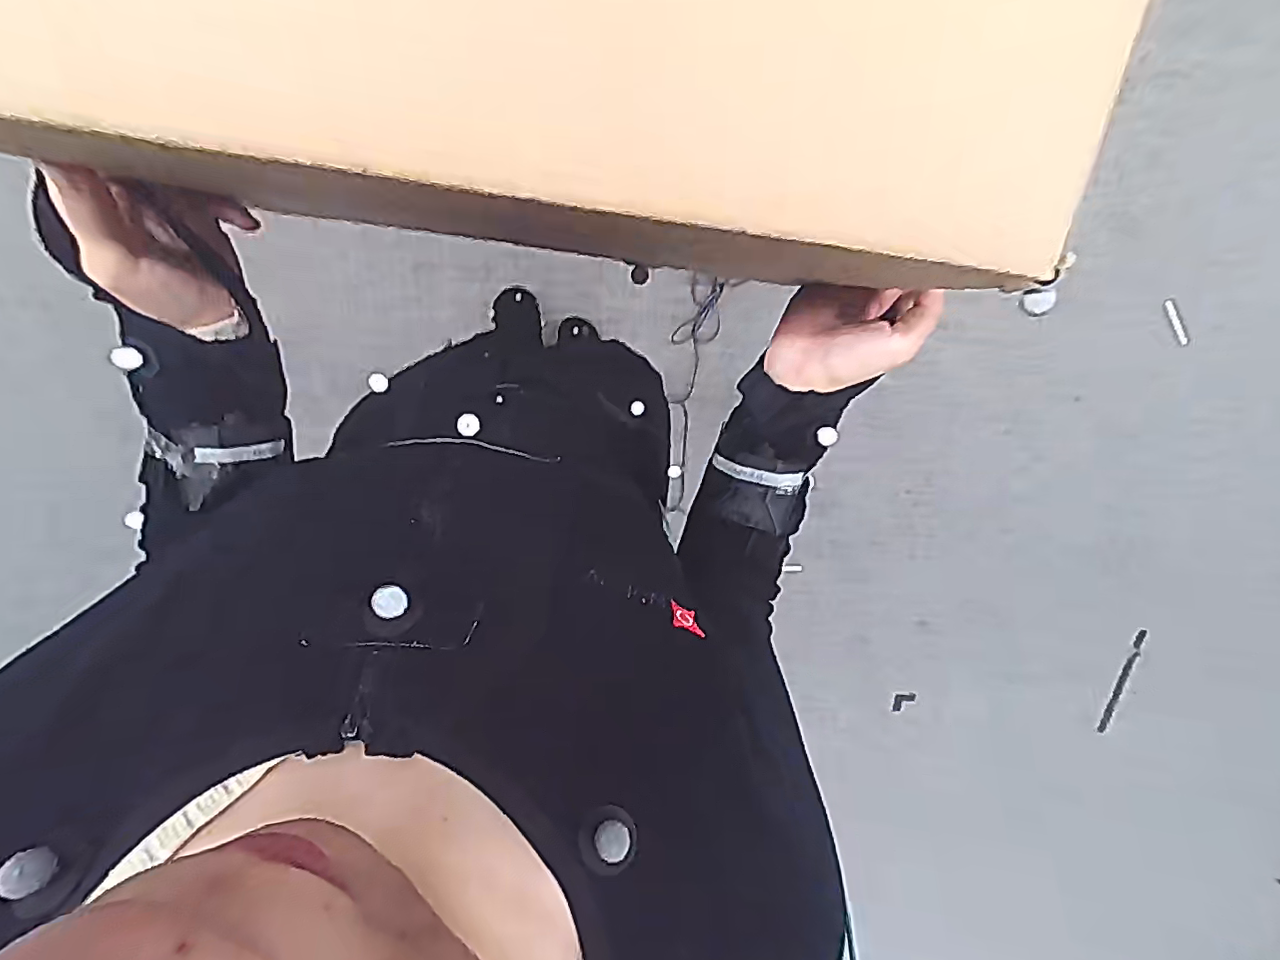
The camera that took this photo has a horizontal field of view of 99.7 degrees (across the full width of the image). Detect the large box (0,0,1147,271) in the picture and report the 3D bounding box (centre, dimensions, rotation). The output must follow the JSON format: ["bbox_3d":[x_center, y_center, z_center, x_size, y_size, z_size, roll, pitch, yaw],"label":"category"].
[{"bbox_3d":[-0.041,-0.293,0.257,0.408,0.320,0.320,4,110,-9],"label":"large box"}]
